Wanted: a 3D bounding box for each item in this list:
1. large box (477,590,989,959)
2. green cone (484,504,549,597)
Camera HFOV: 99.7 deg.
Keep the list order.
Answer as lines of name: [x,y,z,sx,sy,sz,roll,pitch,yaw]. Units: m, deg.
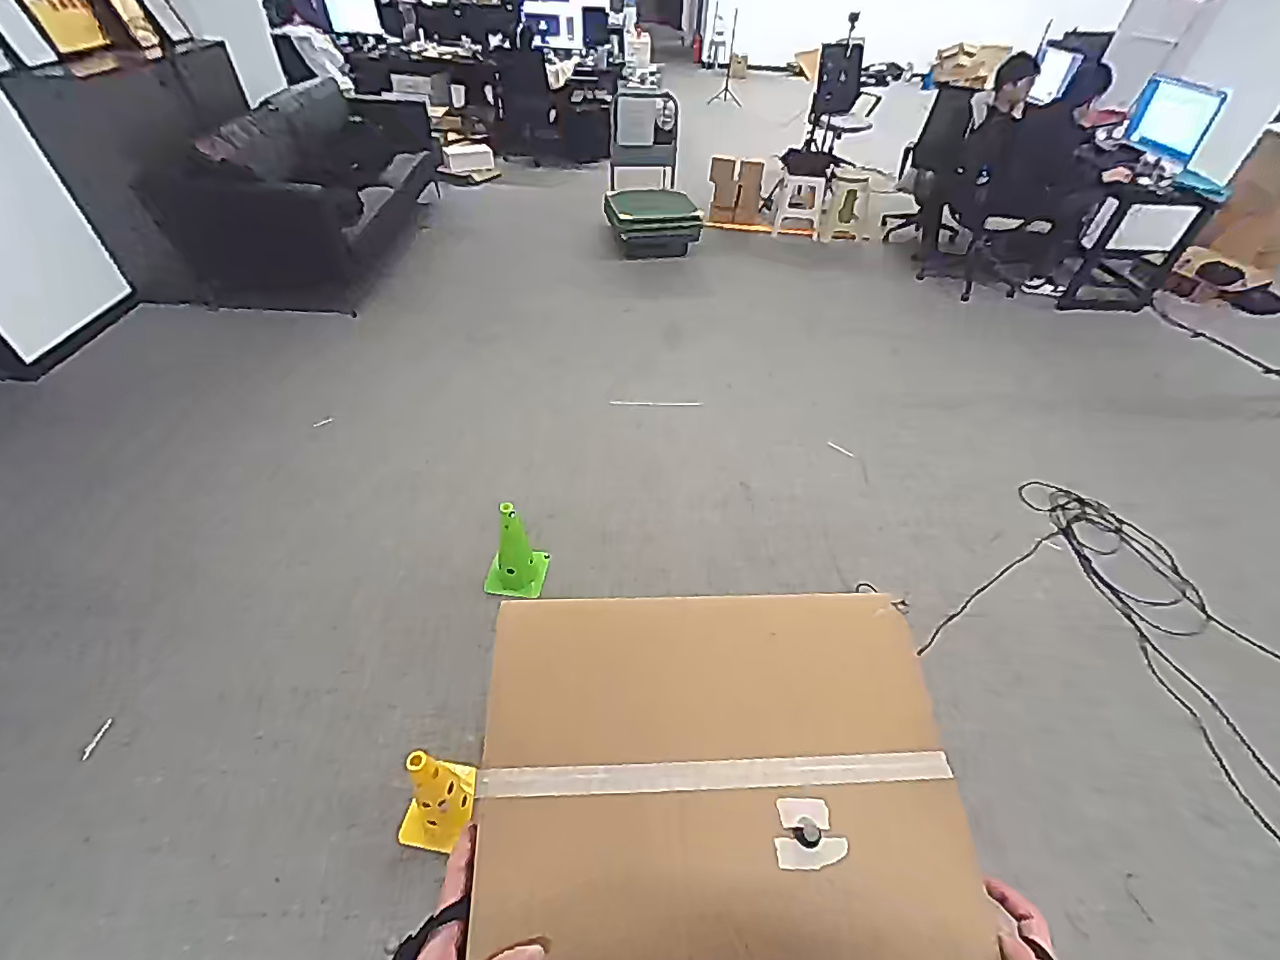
large box: [0.060,0.326,0.607,0.408,0.320,0.320,0,61,-3]
green cone: [-0.439,0.210,1.834,0.200,0.368,0.202,6,46,3]
